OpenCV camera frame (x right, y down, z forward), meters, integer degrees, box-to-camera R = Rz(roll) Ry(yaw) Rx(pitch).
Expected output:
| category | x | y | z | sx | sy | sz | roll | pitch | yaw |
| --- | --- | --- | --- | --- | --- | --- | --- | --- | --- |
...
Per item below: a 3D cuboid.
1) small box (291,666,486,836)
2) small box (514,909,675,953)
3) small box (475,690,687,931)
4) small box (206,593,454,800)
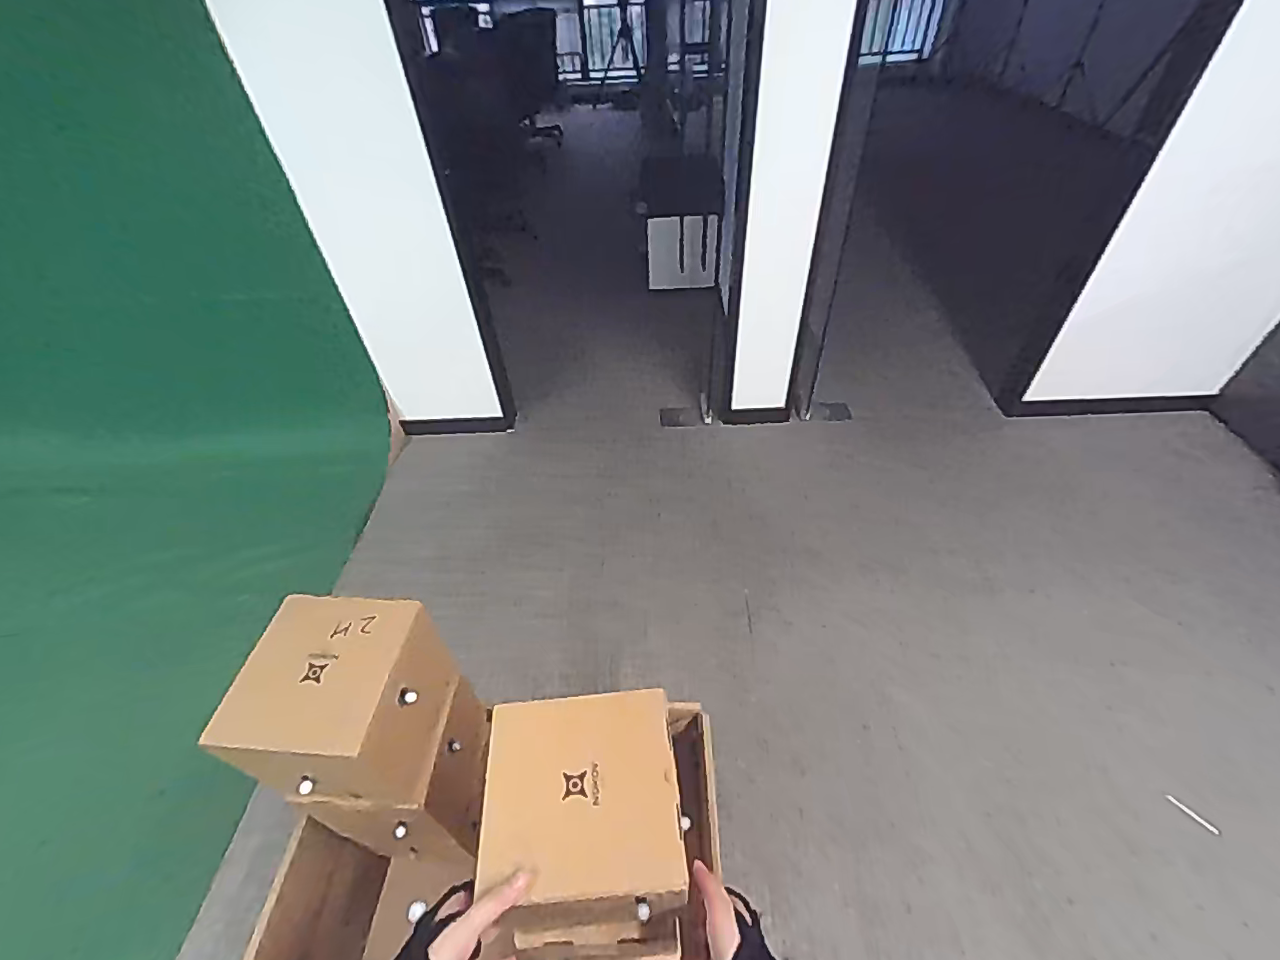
| category | x | y | z | sx | sy | sz | roll | pitch | yaw |
| --- | --- | --- | --- | --- | --- | --- | --- | --- | --- |
| small box | -0.328 | 0.376 | 0.753 | 0.168 | 0.176 | 0.179 | 2 | 45 | 3 |
| small box | -0.044 | 0.456 | 0.656 | 0.168 | 0.176 | 0.179 | -3 | 45 | 1 |
| small box | -0.050 | 0.335 | 0.548 | 0.179 | 0.176 | 0.168 | -4 | 45 | -2 |
| small box | -0.339 | 0.258 | 0.640 | 0.168 | 0.176 | 0.179 | 3 | 46 | 4 |
